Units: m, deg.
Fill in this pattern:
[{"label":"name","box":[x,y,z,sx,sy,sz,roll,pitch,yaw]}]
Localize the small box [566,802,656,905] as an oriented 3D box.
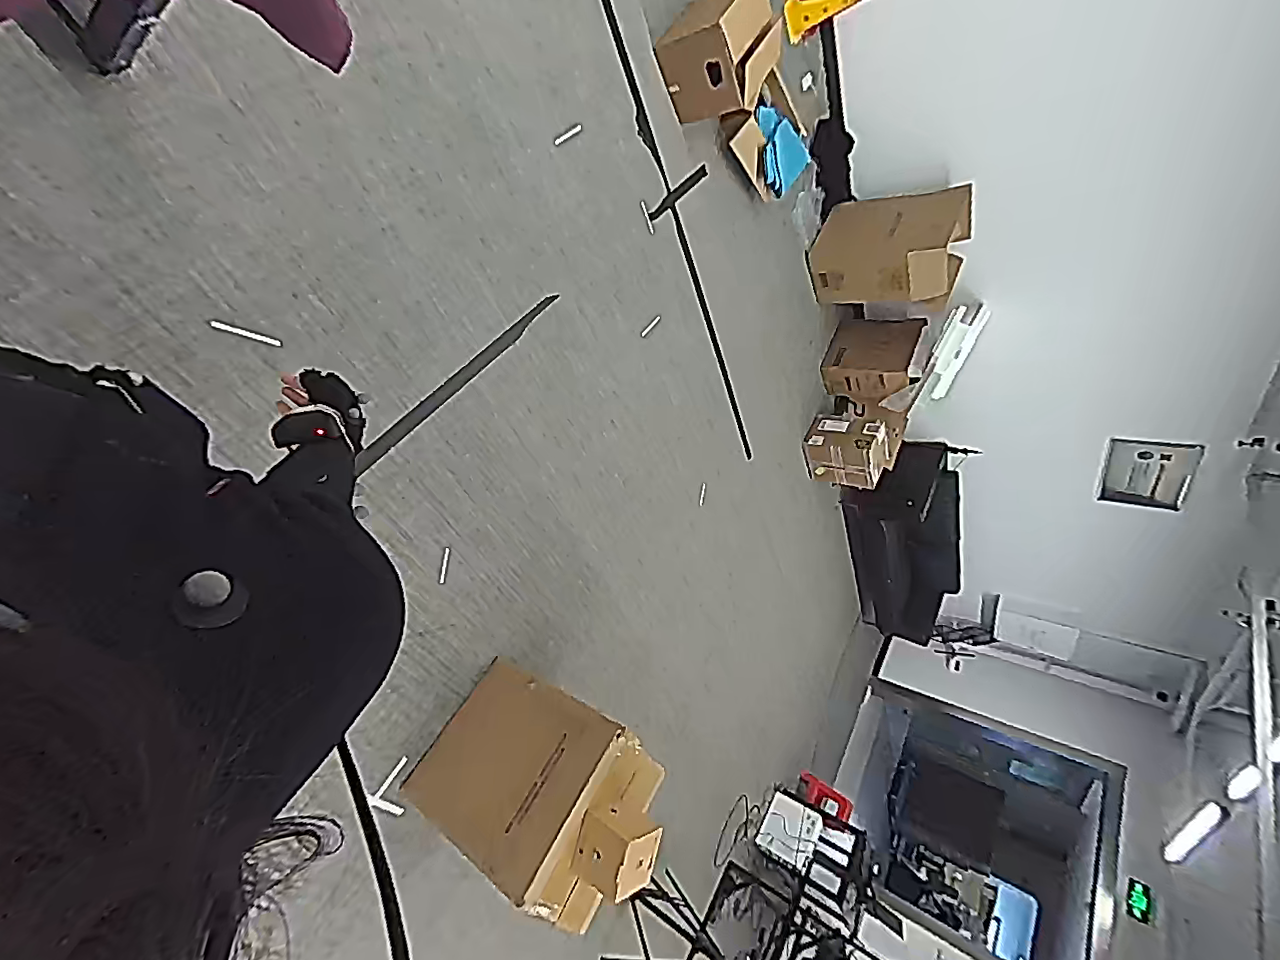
[{"label":"small box","box":[-0.087,1.072,1.570,0.179,0.176,0.168,24,80,-50]}]
